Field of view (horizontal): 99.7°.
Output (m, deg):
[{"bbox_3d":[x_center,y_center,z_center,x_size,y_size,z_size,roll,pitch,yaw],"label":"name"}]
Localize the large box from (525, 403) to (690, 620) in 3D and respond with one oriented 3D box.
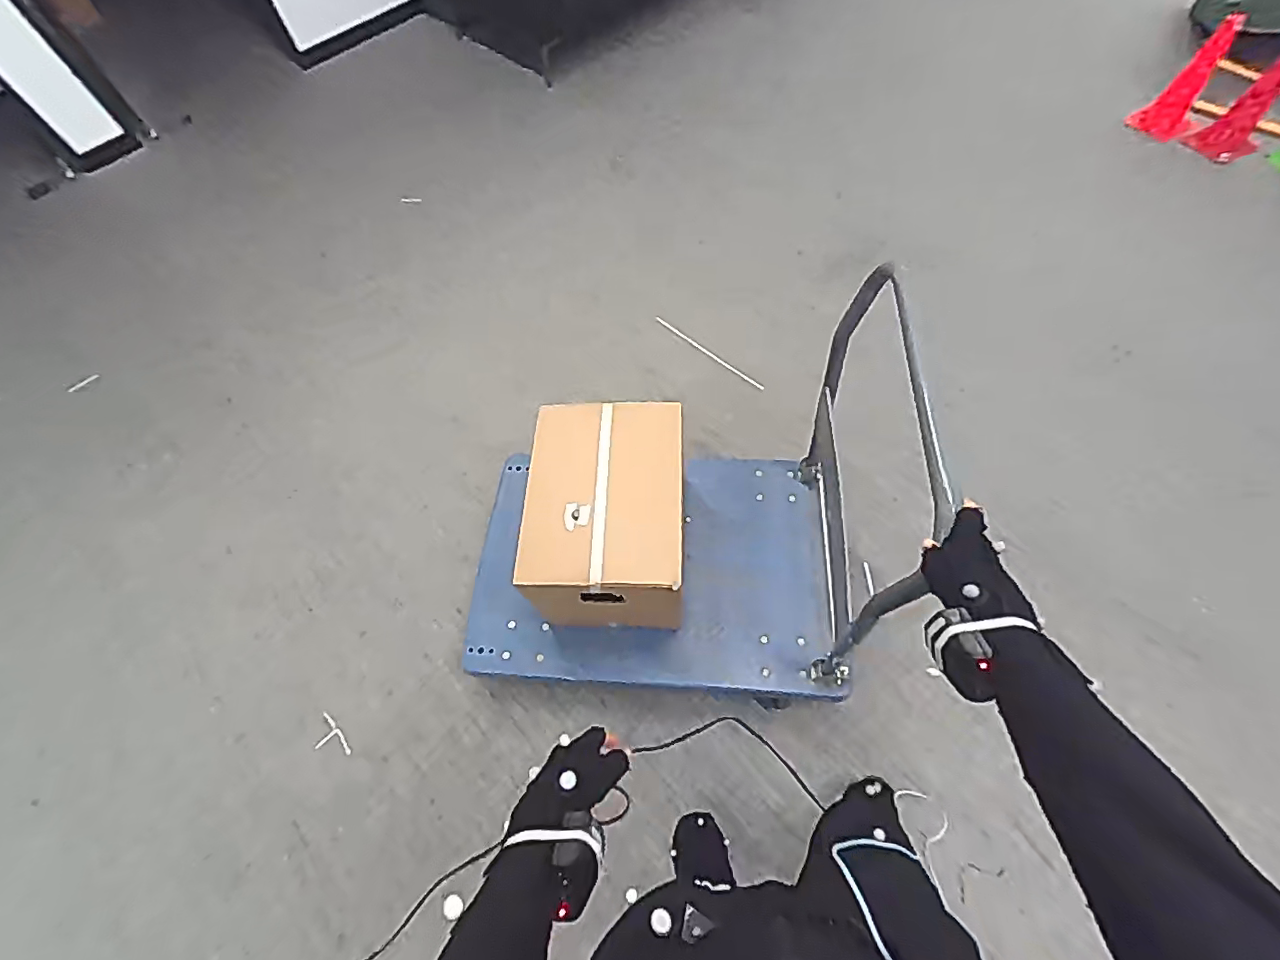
[{"bbox_3d":[-0.051,0.079,1.214,0.320,0.320,0.408,-1,63,5],"label":"large box"}]
